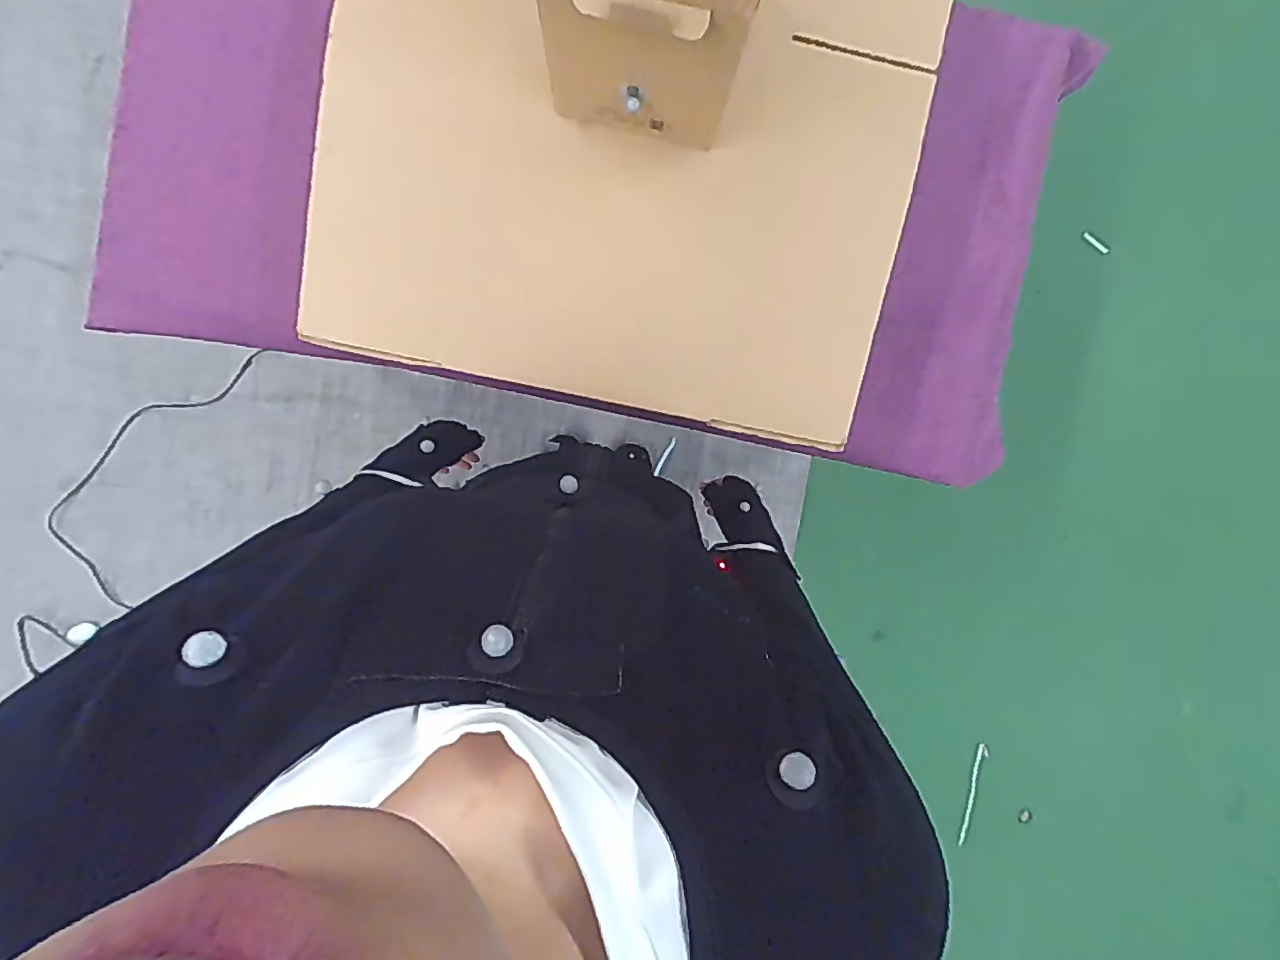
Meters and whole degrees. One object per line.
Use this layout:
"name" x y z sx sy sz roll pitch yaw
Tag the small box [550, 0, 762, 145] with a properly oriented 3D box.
"small box" 0.018 -0.437 0.463 0.168 0.176 0.179 12 92 -4
